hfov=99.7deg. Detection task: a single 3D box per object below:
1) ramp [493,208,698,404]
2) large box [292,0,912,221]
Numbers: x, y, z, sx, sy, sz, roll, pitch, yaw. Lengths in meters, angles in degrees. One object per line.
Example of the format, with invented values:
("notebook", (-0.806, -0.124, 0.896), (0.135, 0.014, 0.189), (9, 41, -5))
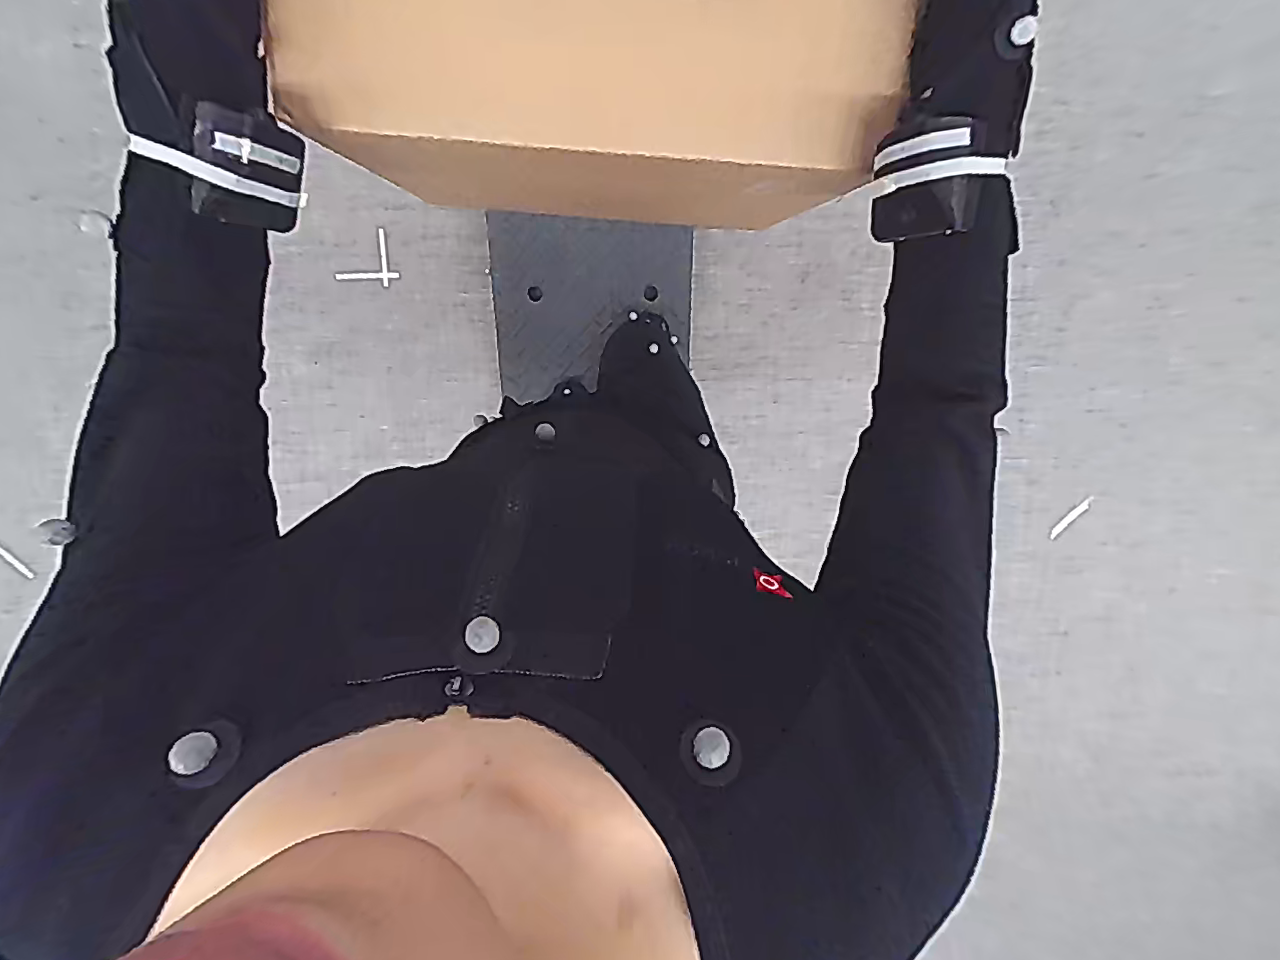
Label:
("ramp", (-0.101, -0.674, 1.271), (0.509, 0.206, 0.991), (-3, 101, -4))
("large box", (-0.026, -0.422, 0.465), (0.408, 0.320, 0.320), (2, 108, -5))
